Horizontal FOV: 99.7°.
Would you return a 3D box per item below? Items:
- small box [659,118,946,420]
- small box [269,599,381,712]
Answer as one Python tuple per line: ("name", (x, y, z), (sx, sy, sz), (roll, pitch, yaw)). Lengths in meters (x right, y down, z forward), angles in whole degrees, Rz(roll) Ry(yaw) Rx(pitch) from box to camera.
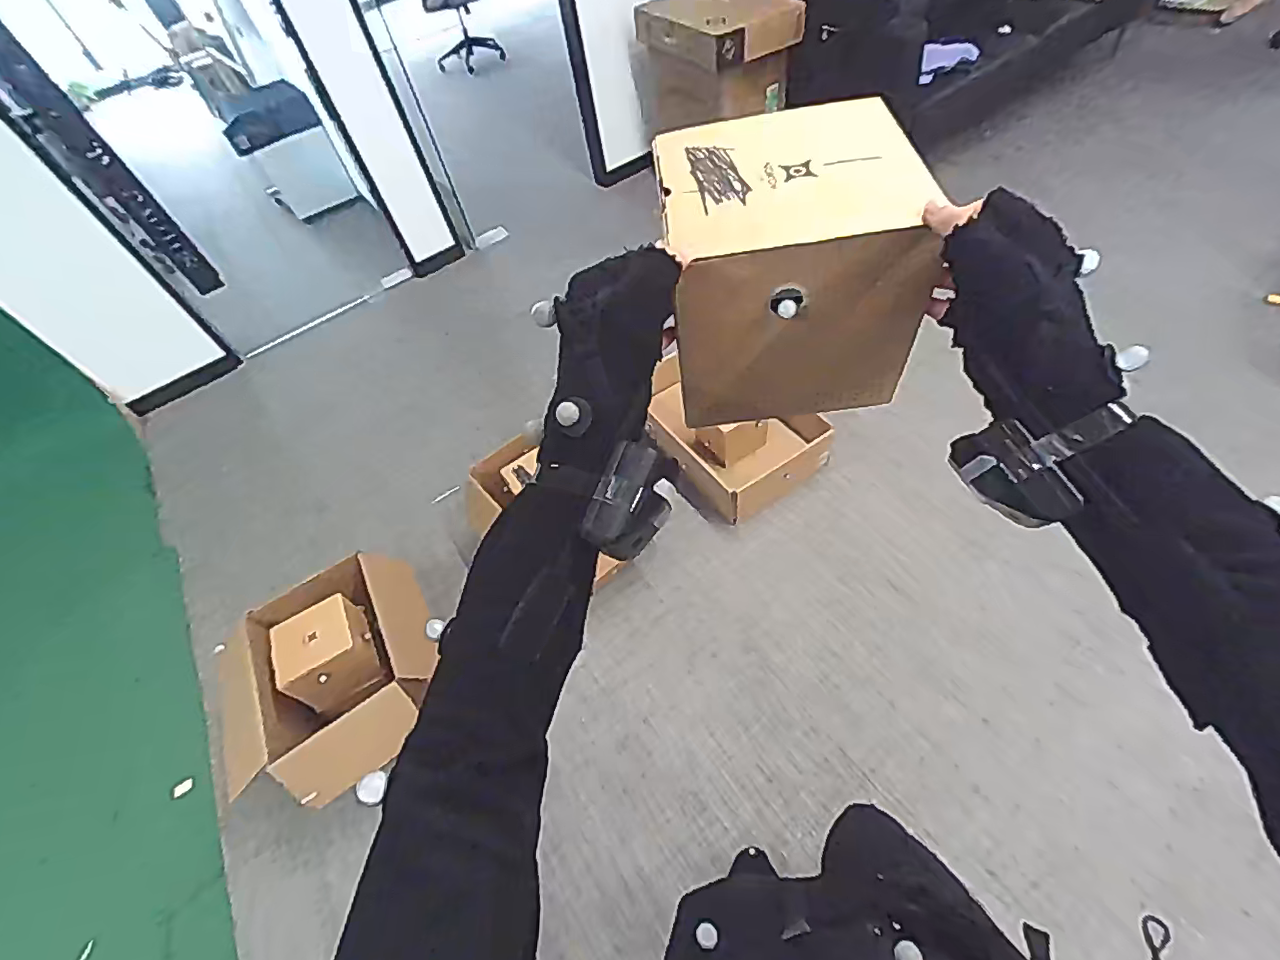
("small box", (0.115, -0.166, 0.455), (0.179, 0.176, 0.168), (-6, 56, 4))
("small box", (-0.754, 0.427, 1.313), (0.179, 0.176, 0.168), (-29, 53, -14))
